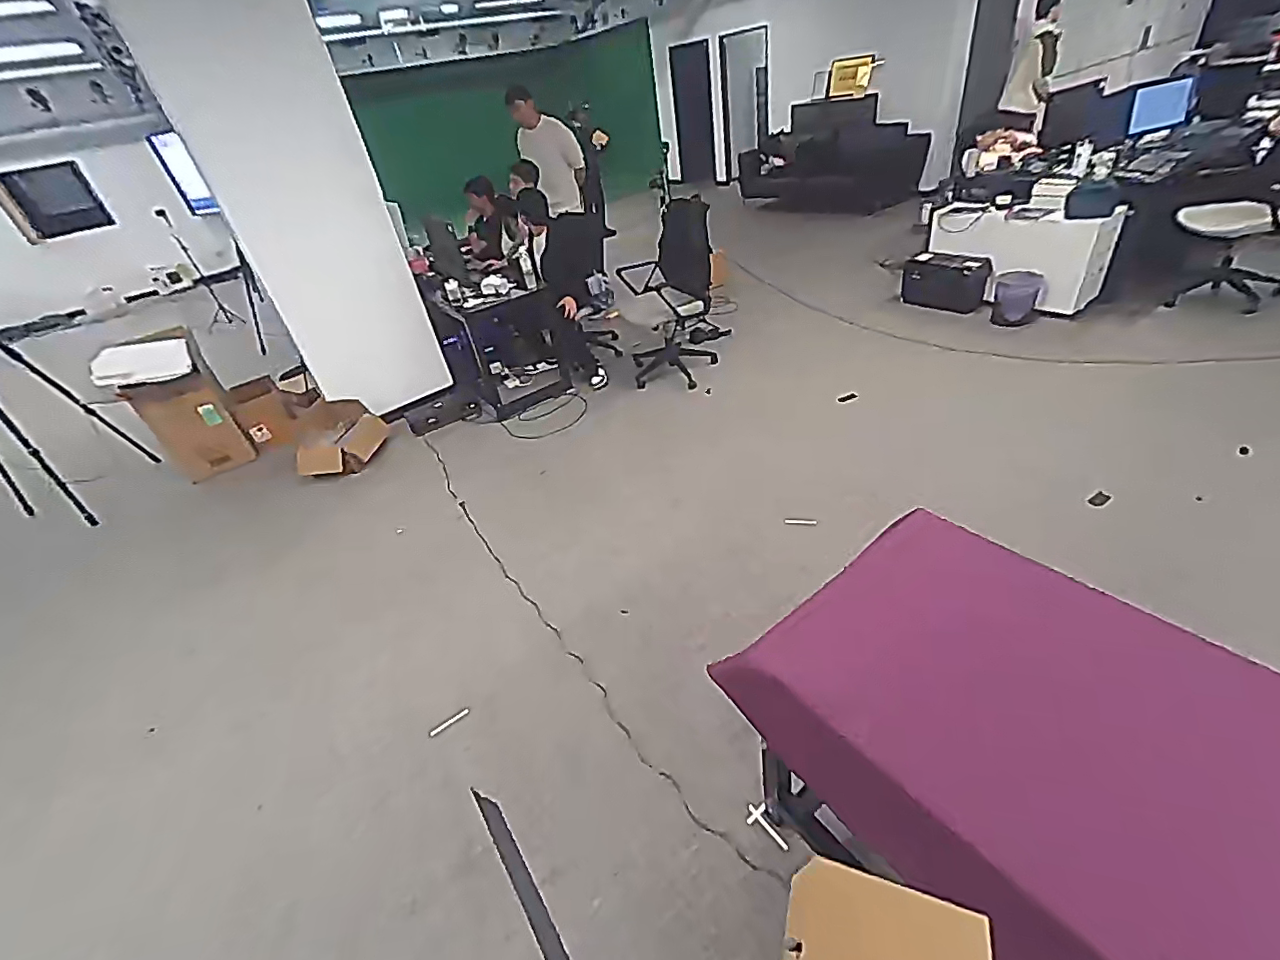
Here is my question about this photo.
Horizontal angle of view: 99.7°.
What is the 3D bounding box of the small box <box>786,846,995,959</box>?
[{"bbox_3d":[0.243,0.517,0.555,0.168,0.176,0.179,11,50,16],"label":"small box"}]
